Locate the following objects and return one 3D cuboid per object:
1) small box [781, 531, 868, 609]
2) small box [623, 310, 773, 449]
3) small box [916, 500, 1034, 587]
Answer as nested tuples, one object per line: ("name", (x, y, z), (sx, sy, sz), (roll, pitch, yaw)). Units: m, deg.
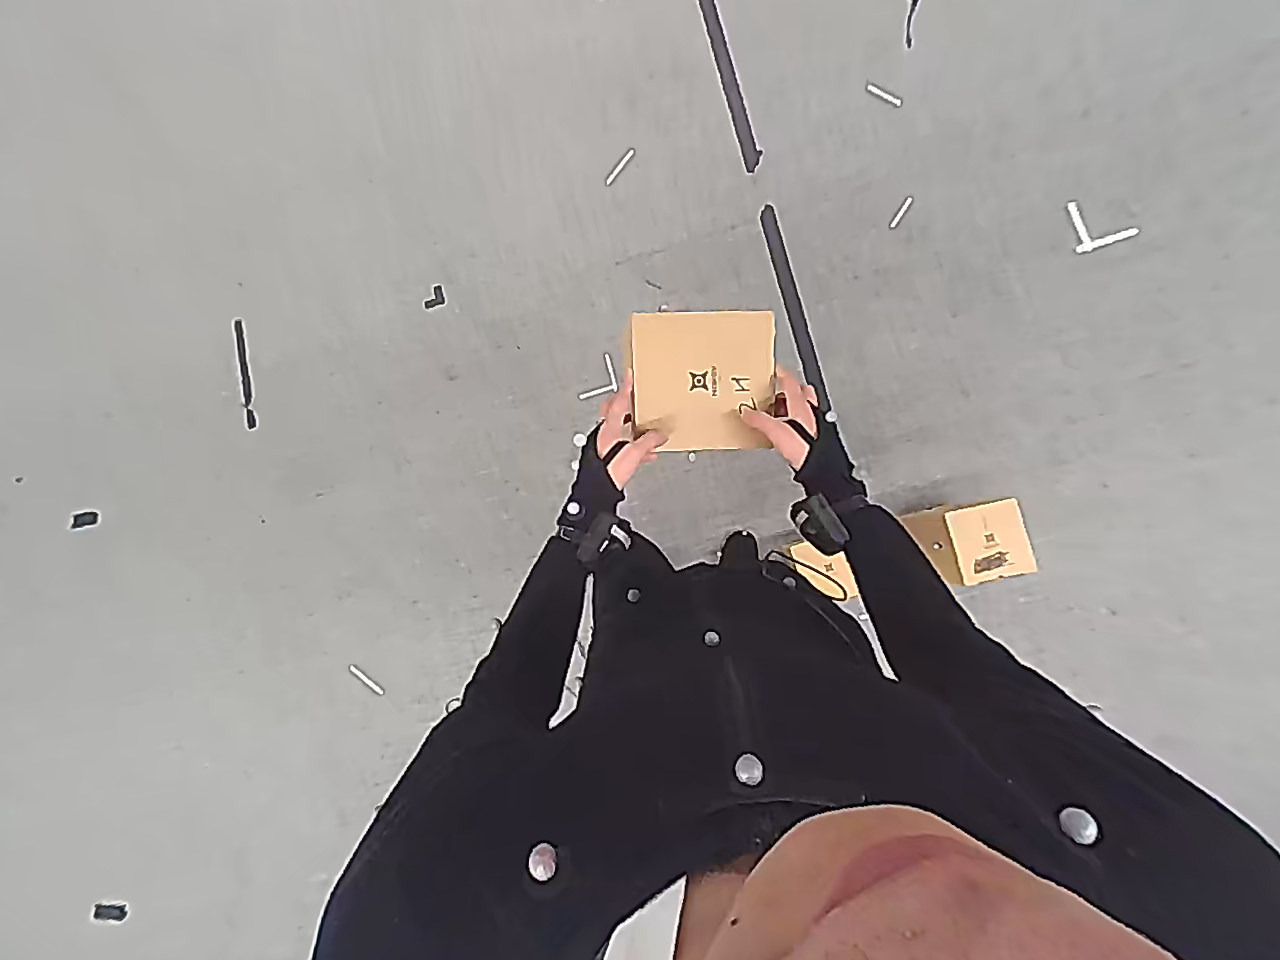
("small box", (0.509, 0.249, 1.518), (0.168, 0.176, 0.179), (-17, 83, 5))
("small box", (0.068, -0.127, 0.724), (0.179, 0.176, 0.168), (-3, 96, -5))
("small box", (0.810, 0.153, 1.325), (0.168, 0.176, 0.179), (-13, 82, 5))
